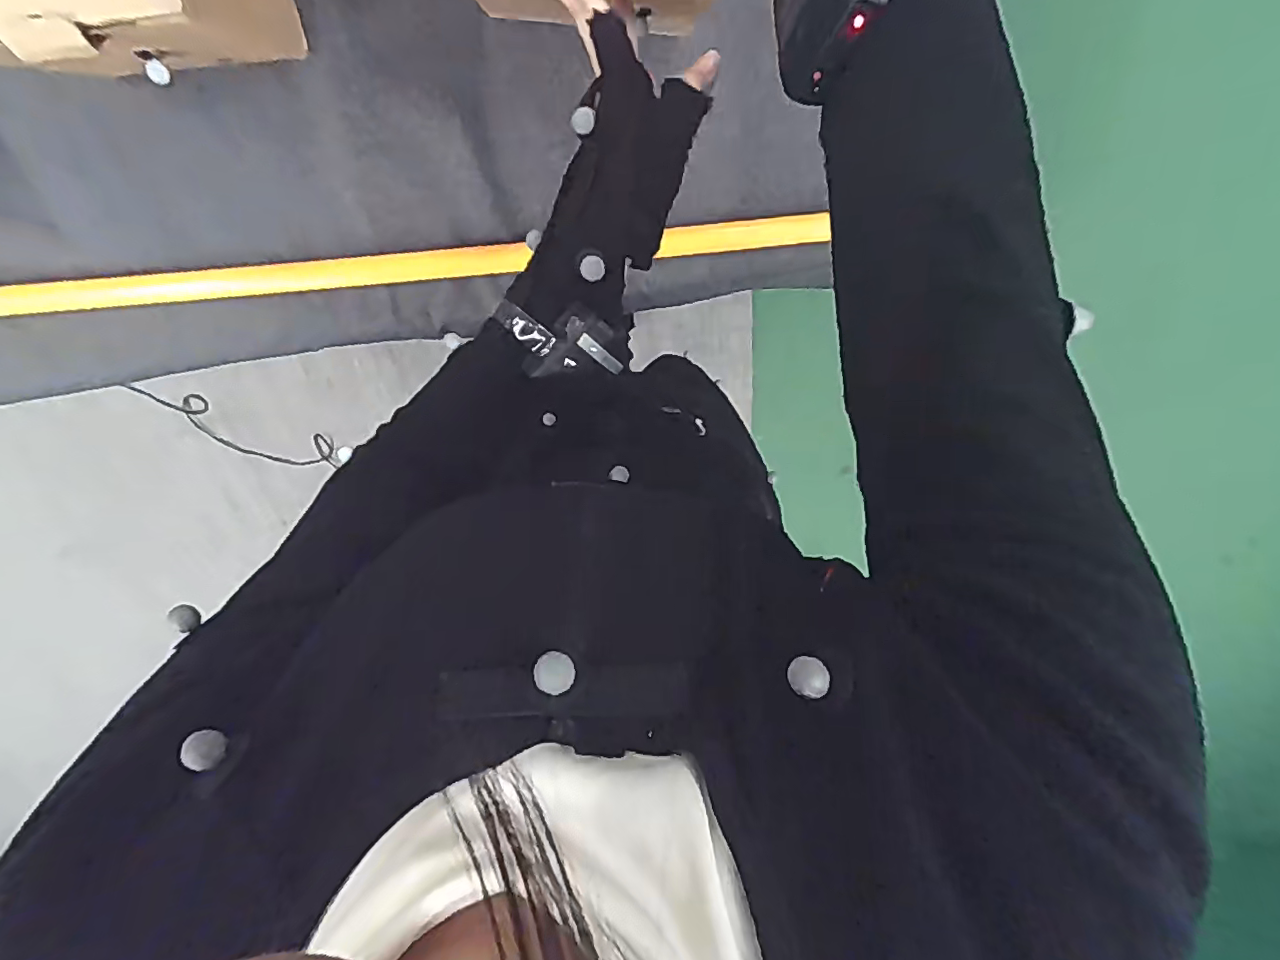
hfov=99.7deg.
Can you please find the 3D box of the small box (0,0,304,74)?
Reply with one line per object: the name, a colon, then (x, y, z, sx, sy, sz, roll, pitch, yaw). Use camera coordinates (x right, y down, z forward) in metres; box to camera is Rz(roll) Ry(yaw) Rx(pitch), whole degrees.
small box: (-0.350, -0.367, 0.328, 0.168, 0.176, 0.179, -9, 122, 2)
